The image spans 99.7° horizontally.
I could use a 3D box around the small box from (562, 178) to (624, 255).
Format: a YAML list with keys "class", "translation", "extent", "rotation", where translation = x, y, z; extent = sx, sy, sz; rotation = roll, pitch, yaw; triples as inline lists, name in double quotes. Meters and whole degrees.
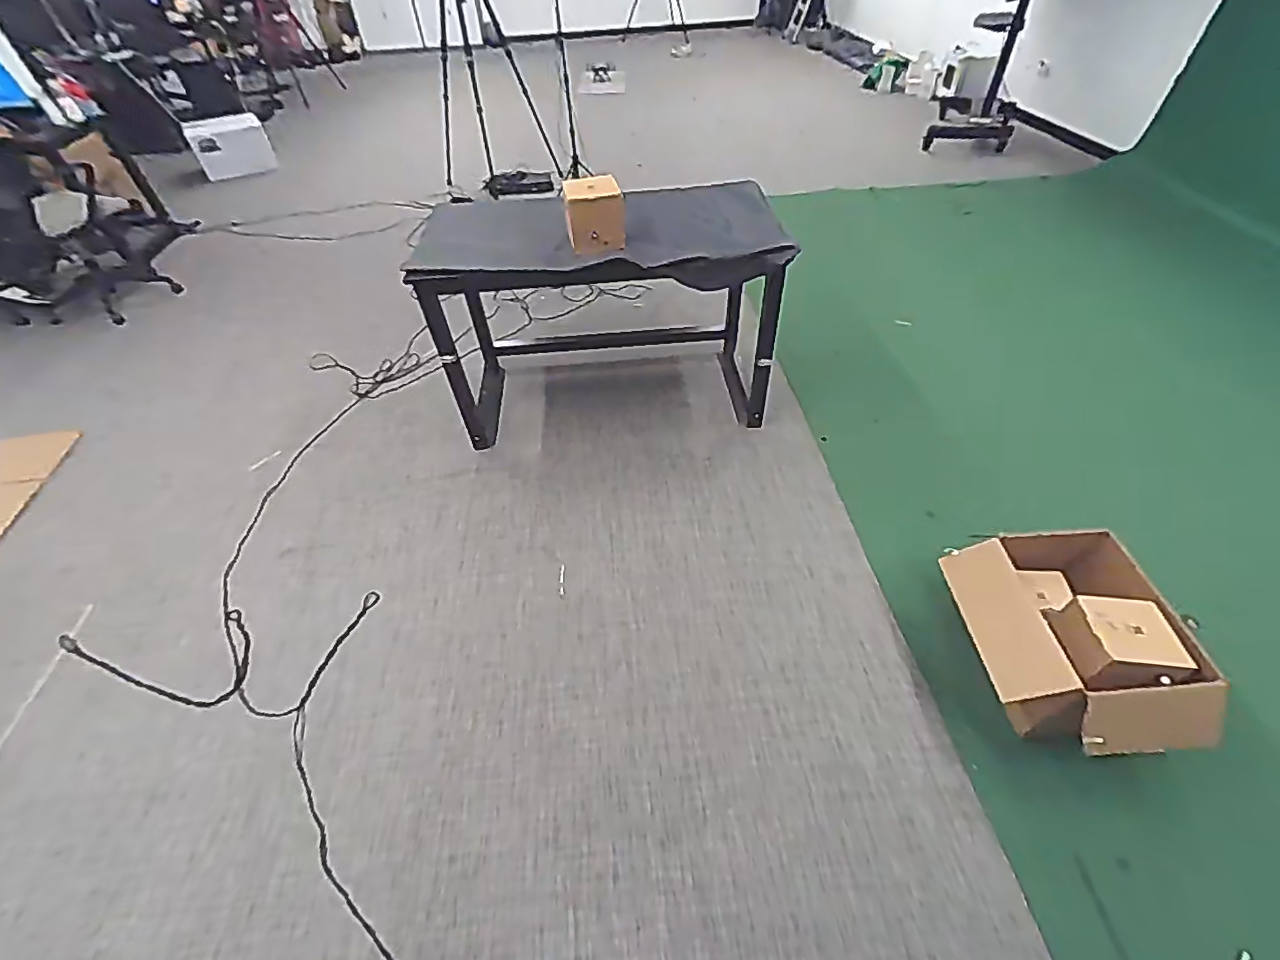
- class: "small box"
  translation: [-0.149, -0.837, 1.717]
  extent: [0.168, 0.176, 0.179]
  rotation: [-10, 47, -7]
